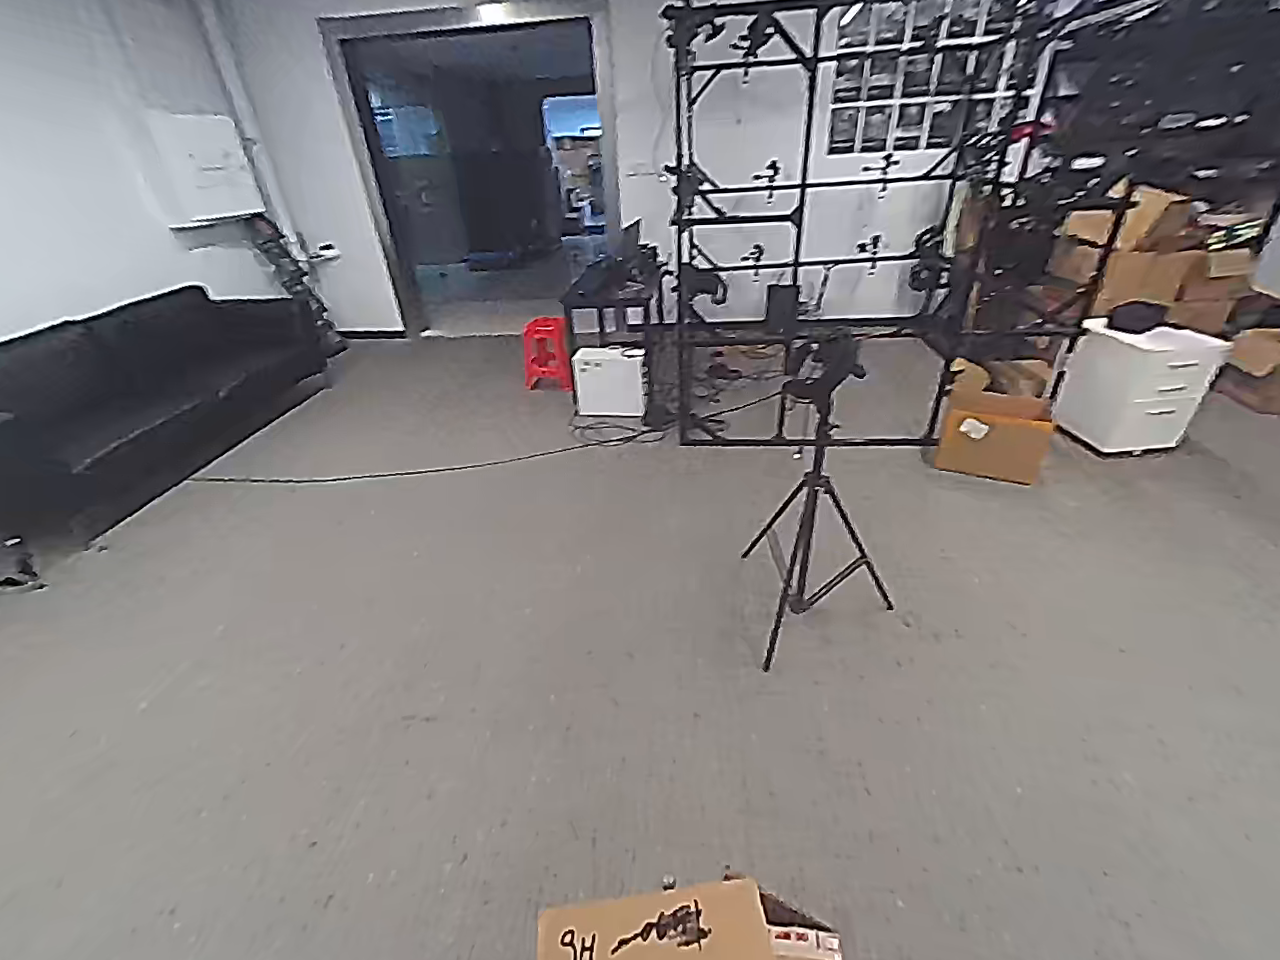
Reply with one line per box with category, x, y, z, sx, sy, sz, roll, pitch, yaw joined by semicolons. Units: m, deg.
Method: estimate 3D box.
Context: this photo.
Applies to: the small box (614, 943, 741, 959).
small box;0.046;0.719;0.672;0.168;0.176;0.179;-2;35;6
